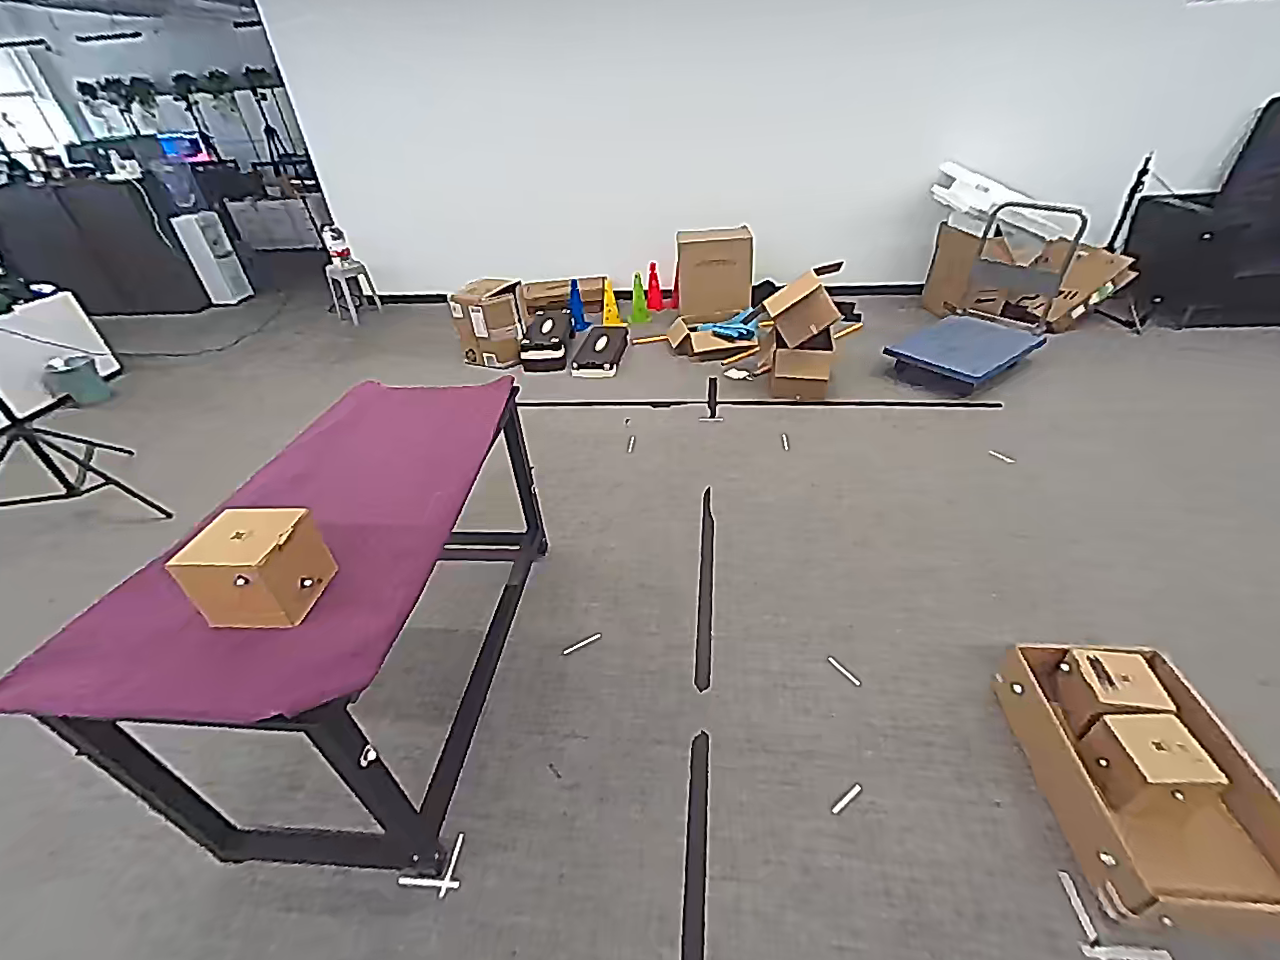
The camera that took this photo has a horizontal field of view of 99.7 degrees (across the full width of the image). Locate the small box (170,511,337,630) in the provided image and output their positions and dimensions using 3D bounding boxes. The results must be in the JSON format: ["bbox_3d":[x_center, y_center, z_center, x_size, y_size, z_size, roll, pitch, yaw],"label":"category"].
[{"bbox_3d":[-0.742,0.177,1.061,0.179,0.176,0.168,-1,35,3],"label":"small box"}]

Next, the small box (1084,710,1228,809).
[{"bbox_3d":[1.247,0.690,1.331,0.179,0.176,0.168,-2,37,3],"label":"small box"}]
